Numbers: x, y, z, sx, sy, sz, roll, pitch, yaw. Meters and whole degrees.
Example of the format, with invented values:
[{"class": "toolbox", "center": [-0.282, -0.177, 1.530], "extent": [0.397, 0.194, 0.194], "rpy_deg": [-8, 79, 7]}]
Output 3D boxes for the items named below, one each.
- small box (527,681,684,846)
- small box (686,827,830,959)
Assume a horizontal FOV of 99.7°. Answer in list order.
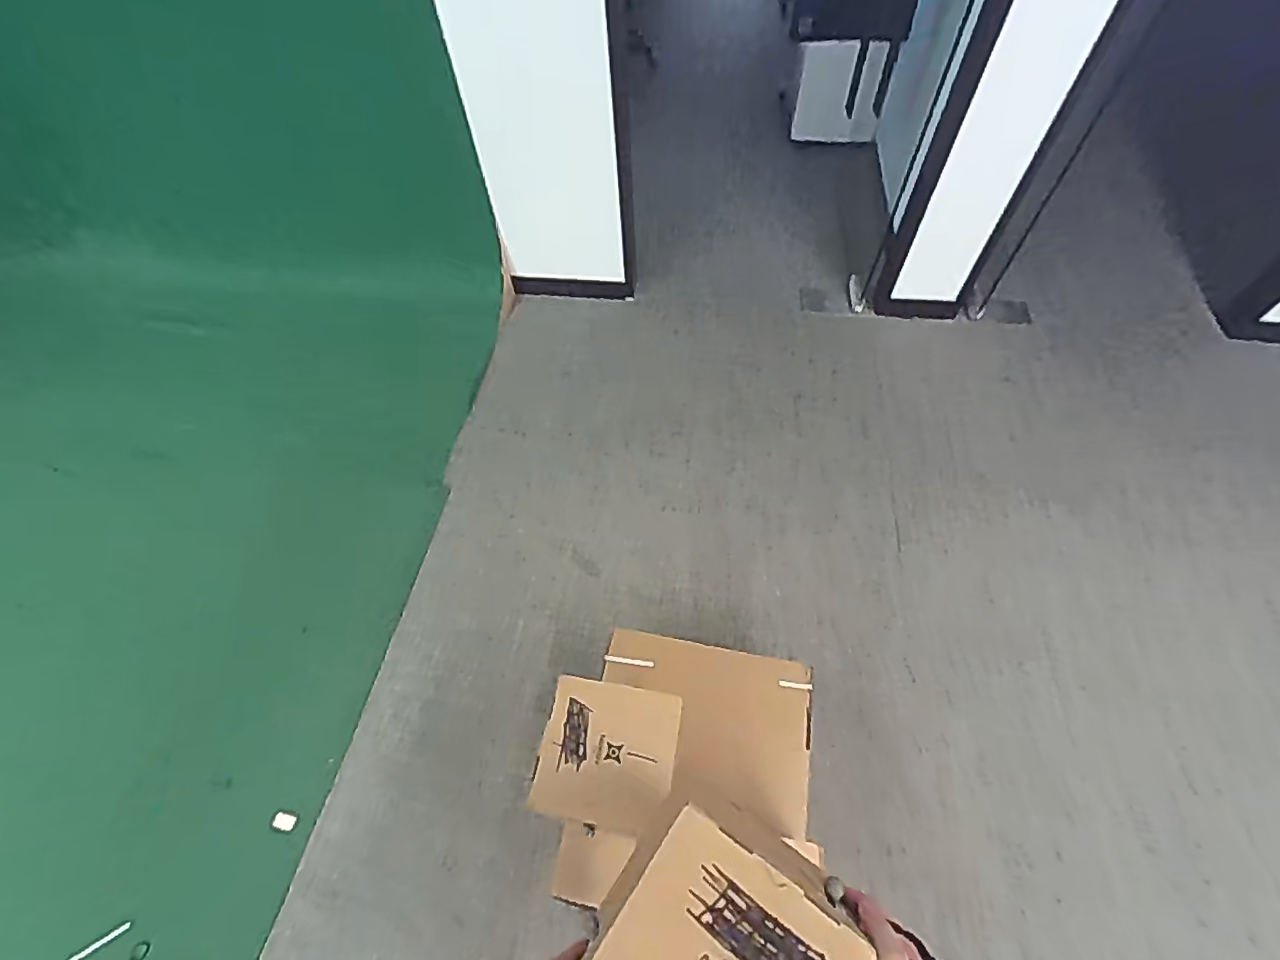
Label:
[{"class": "small box", "center": [-0.035, 0.399, 0.754], "extent": [0.179, 0.176, 0.168], "rpy_deg": [7, 56, 8]}, {"class": "small box", "center": [0.166, 0.622, 0.792], "extent": [0.179, 0.176, 0.168], "rpy_deg": [6, 55, 7]}]
